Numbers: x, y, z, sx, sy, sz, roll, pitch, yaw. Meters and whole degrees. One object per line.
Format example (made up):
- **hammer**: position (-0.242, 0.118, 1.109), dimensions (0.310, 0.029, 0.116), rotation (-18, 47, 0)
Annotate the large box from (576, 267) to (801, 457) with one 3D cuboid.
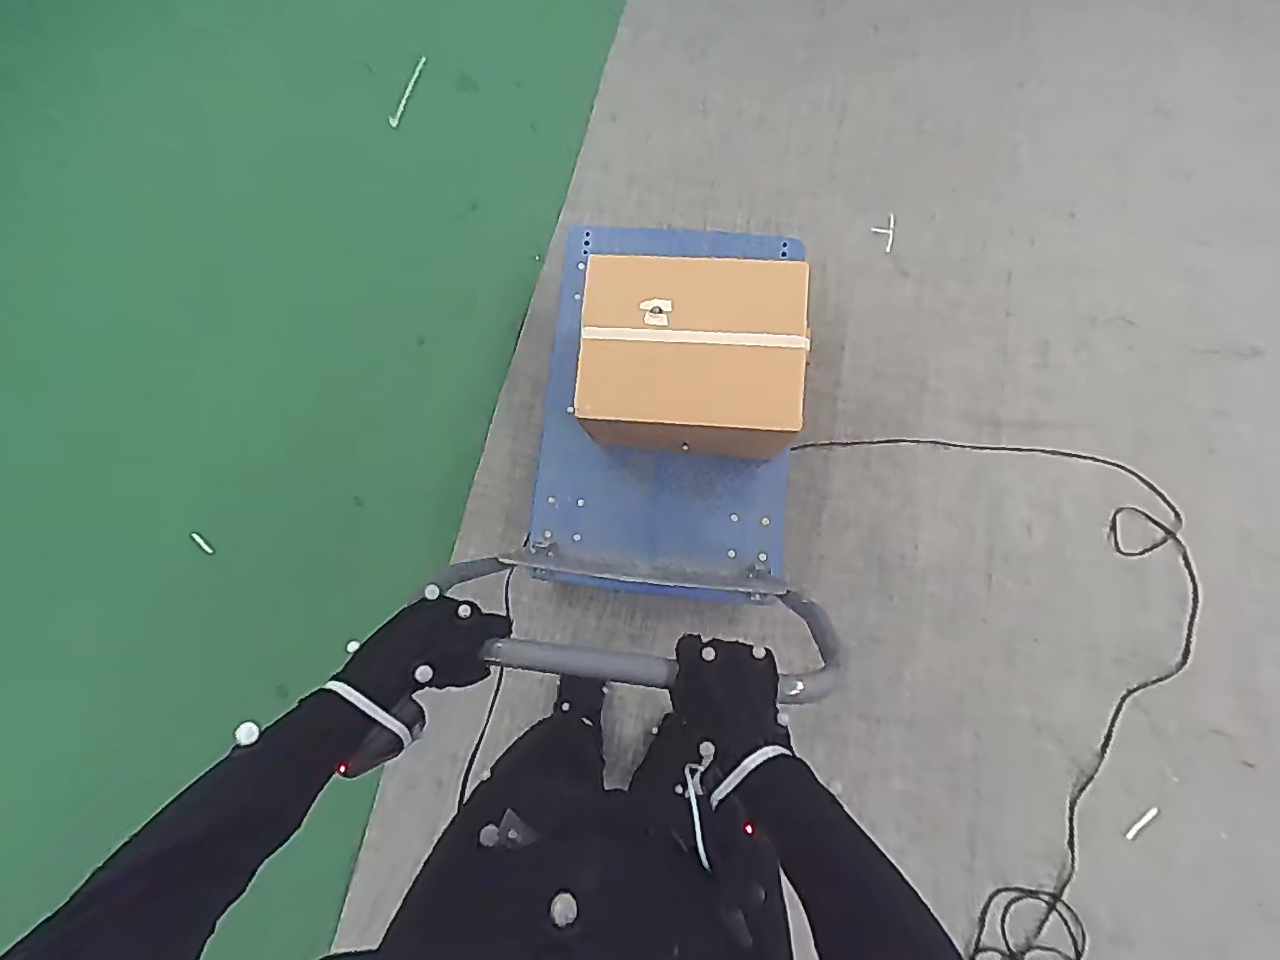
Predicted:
- **large box**: position (0.106, -0.226, 1.132), dimensions (0.408, 0.320, 0.320), rotation (4, 83, 7)
